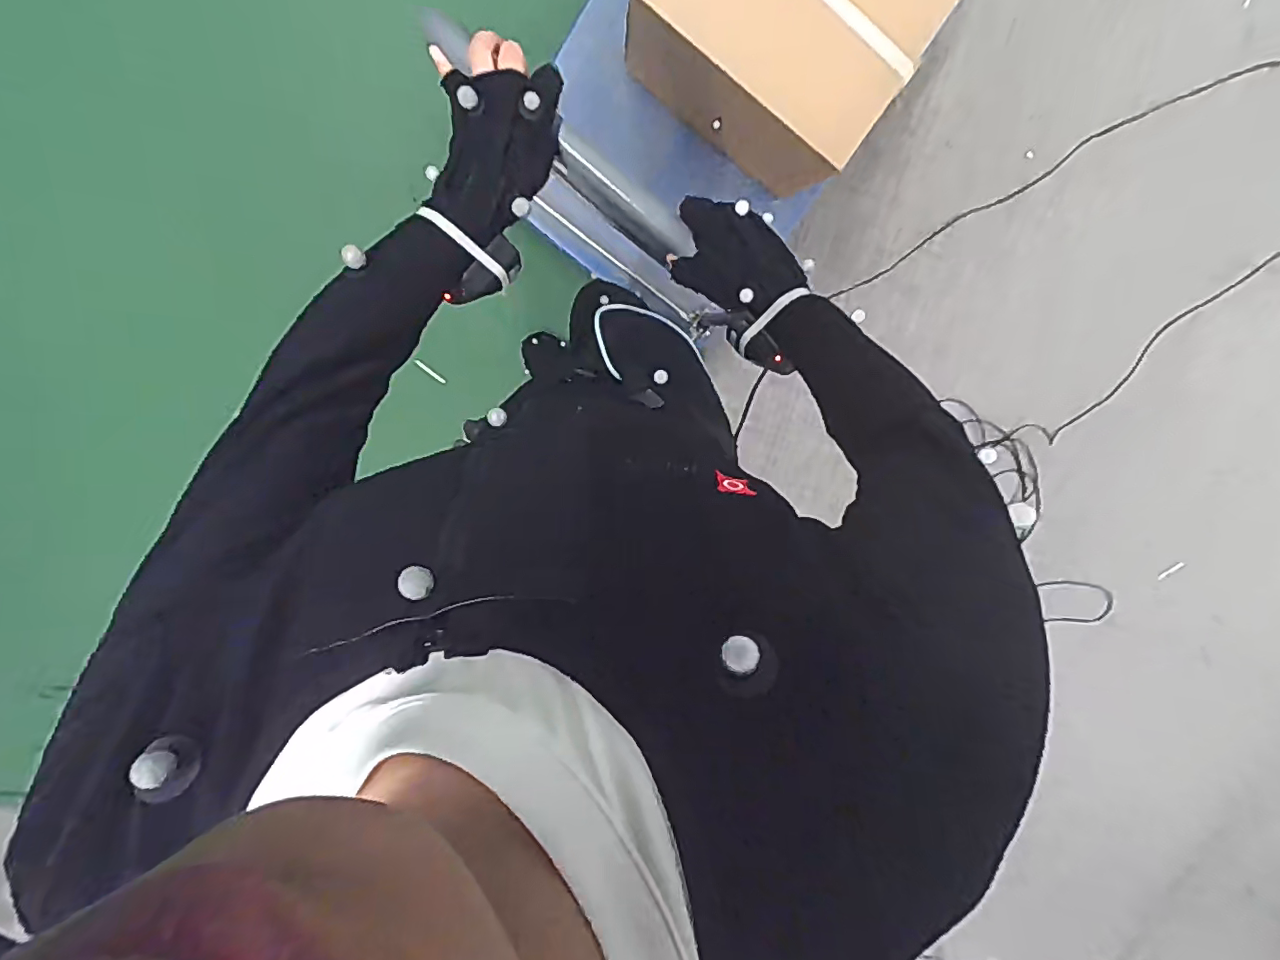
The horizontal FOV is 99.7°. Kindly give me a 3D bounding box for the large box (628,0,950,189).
[{"bbox_3d":[0.228,-0.771,0.914,0.408,0.320,0.320,32,104,-13],"label":"large box"}]
